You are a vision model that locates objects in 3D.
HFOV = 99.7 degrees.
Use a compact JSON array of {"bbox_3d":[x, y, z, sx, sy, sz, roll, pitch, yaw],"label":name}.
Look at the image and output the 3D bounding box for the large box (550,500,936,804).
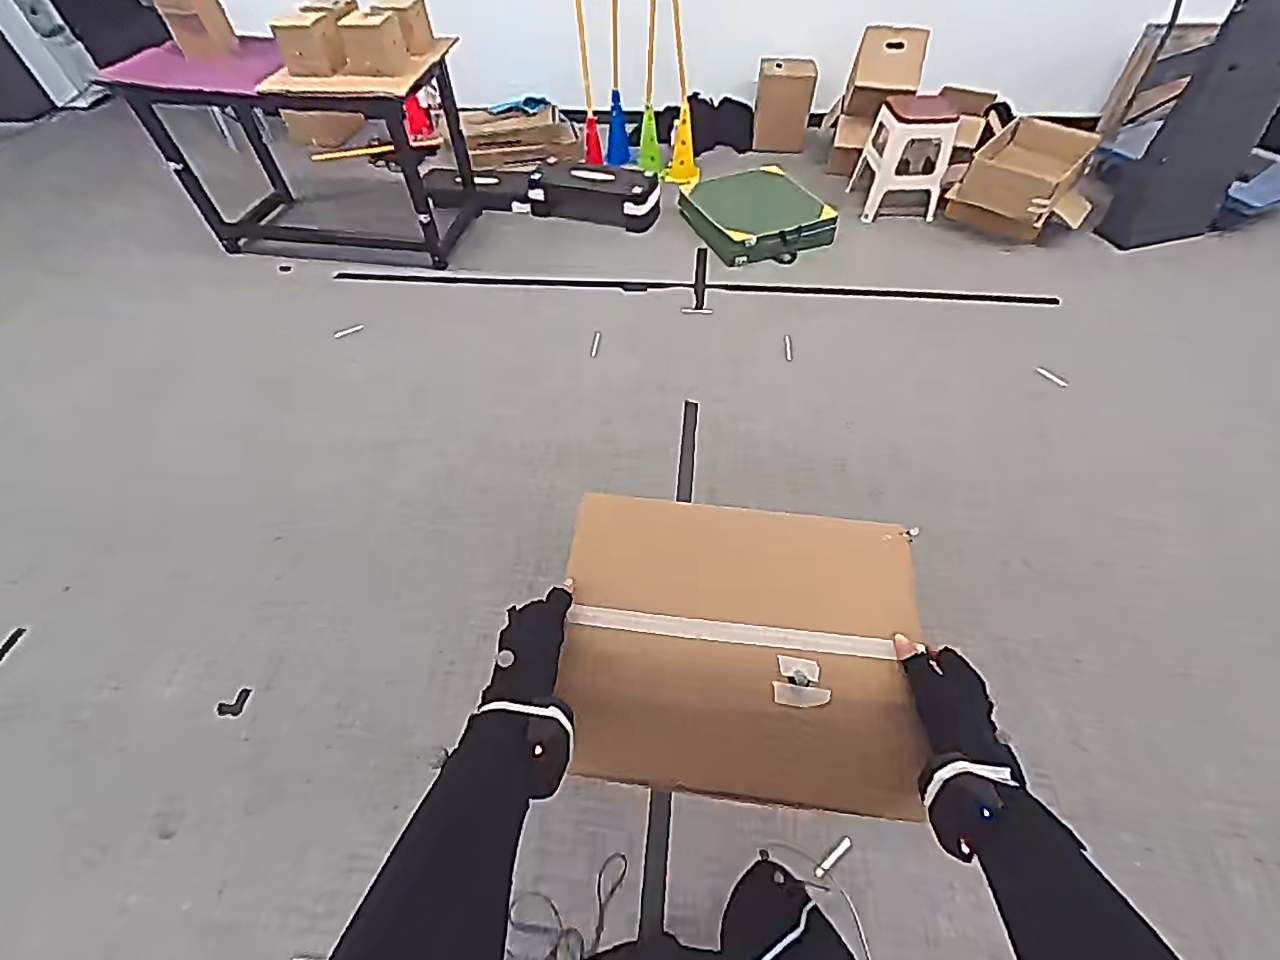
[{"bbox_3d":[0.115,0.249,0.752,0.408,0.320,0.320,6,61,3],"label":"large box"}]
